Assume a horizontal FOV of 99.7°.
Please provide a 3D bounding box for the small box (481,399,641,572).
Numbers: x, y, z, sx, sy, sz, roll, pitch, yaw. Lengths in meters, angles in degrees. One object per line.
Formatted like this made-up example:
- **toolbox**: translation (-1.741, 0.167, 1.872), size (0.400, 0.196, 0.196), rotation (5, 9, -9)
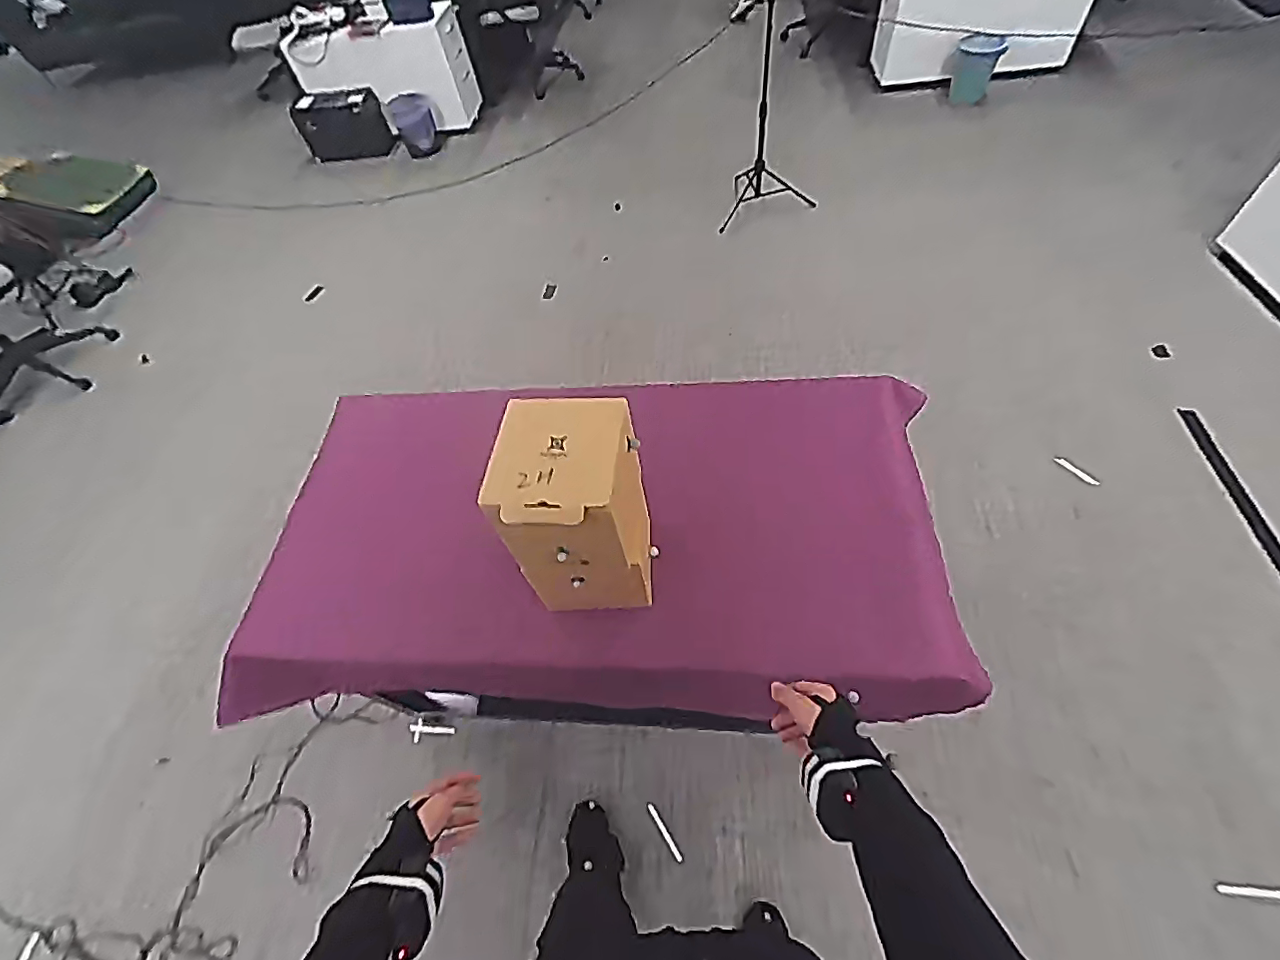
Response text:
- **small box**: translation (-0.094, 0.009, 0.746), size (0.168, 0.176, 0.179), rotation (1, 56, 9)

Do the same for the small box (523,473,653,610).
- **small box**: translation (-0.074, 0.104, 0.879), size (0.179, 0.176, 0.168), rotation (-4, 56, 5)
